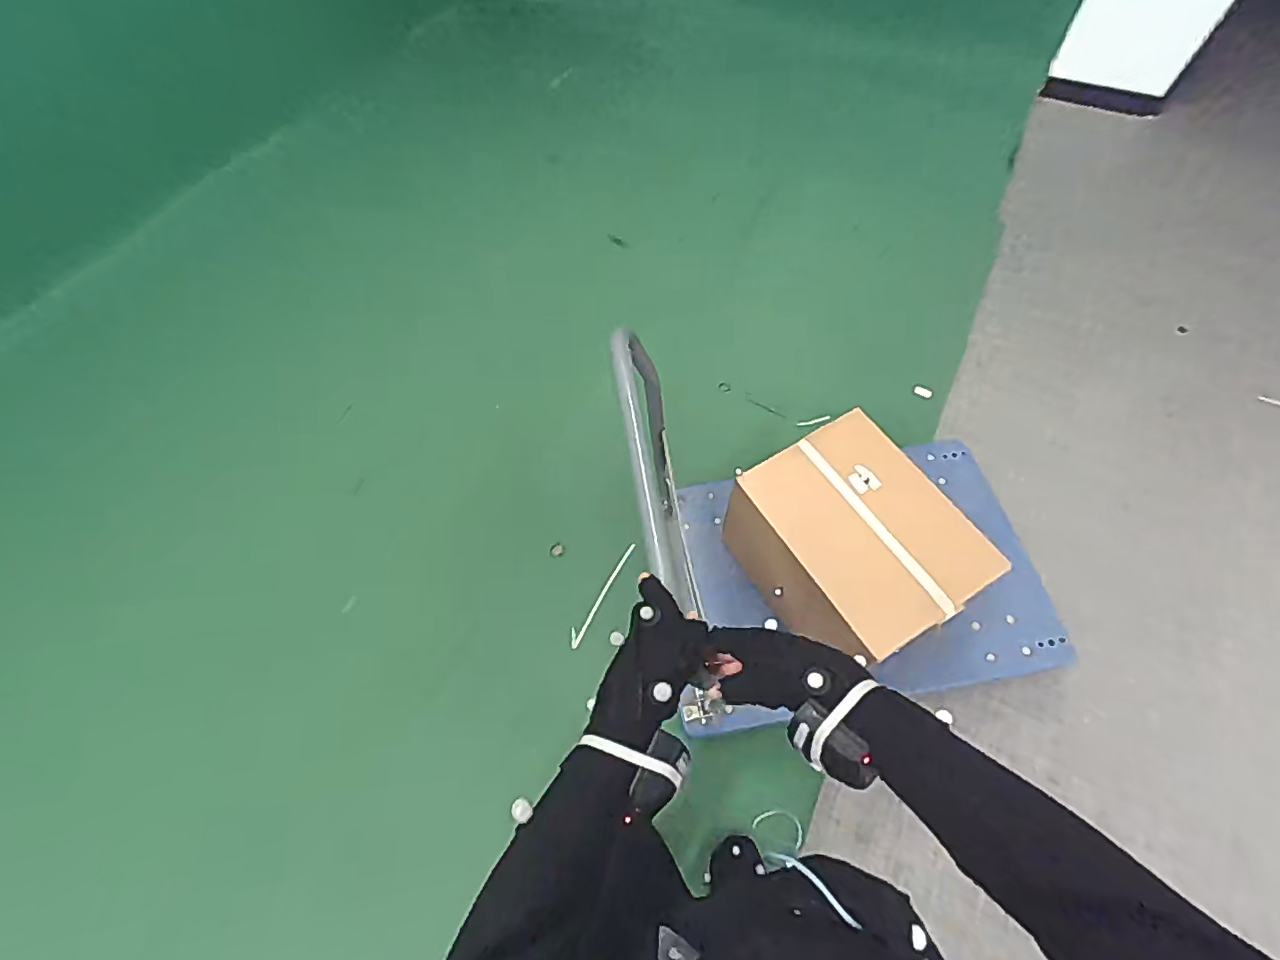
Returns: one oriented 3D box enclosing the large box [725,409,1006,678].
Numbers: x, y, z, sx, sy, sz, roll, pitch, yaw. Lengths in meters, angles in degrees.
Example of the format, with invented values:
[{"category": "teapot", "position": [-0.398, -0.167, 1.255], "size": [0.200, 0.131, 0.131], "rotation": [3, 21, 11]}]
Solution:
[{"category": "large box", "position": [0.424, 0.139, 1.133], "size": [0.320, 0.320, 0.408], "rotation": [-28, 64, -12]}]
